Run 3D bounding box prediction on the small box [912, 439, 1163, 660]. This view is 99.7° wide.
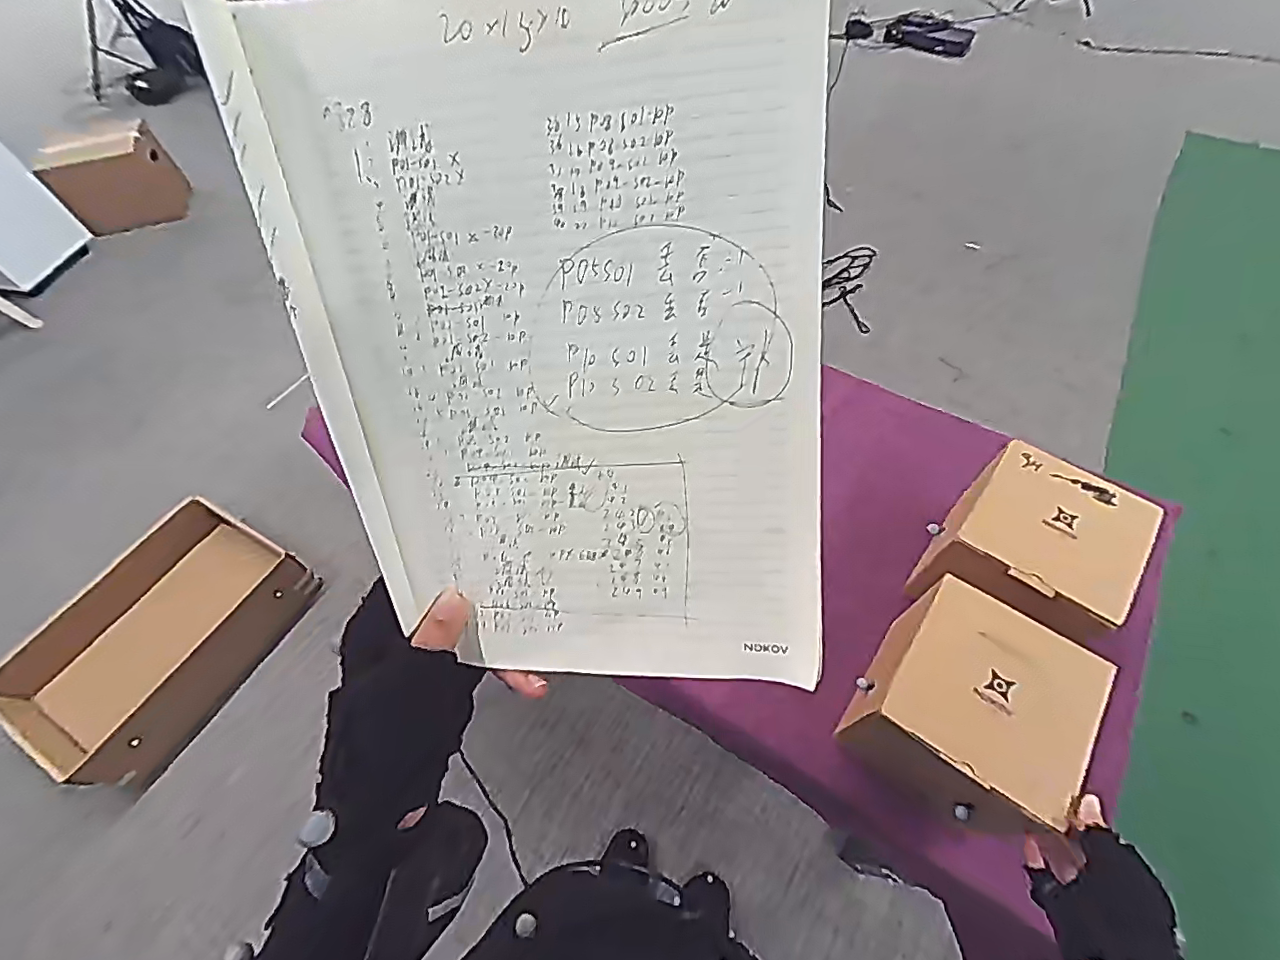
[{"bbox_3d":[0.465,0.091,0.662,0.168,0.176,0.179,34,66,22],"label":"small box"}]
